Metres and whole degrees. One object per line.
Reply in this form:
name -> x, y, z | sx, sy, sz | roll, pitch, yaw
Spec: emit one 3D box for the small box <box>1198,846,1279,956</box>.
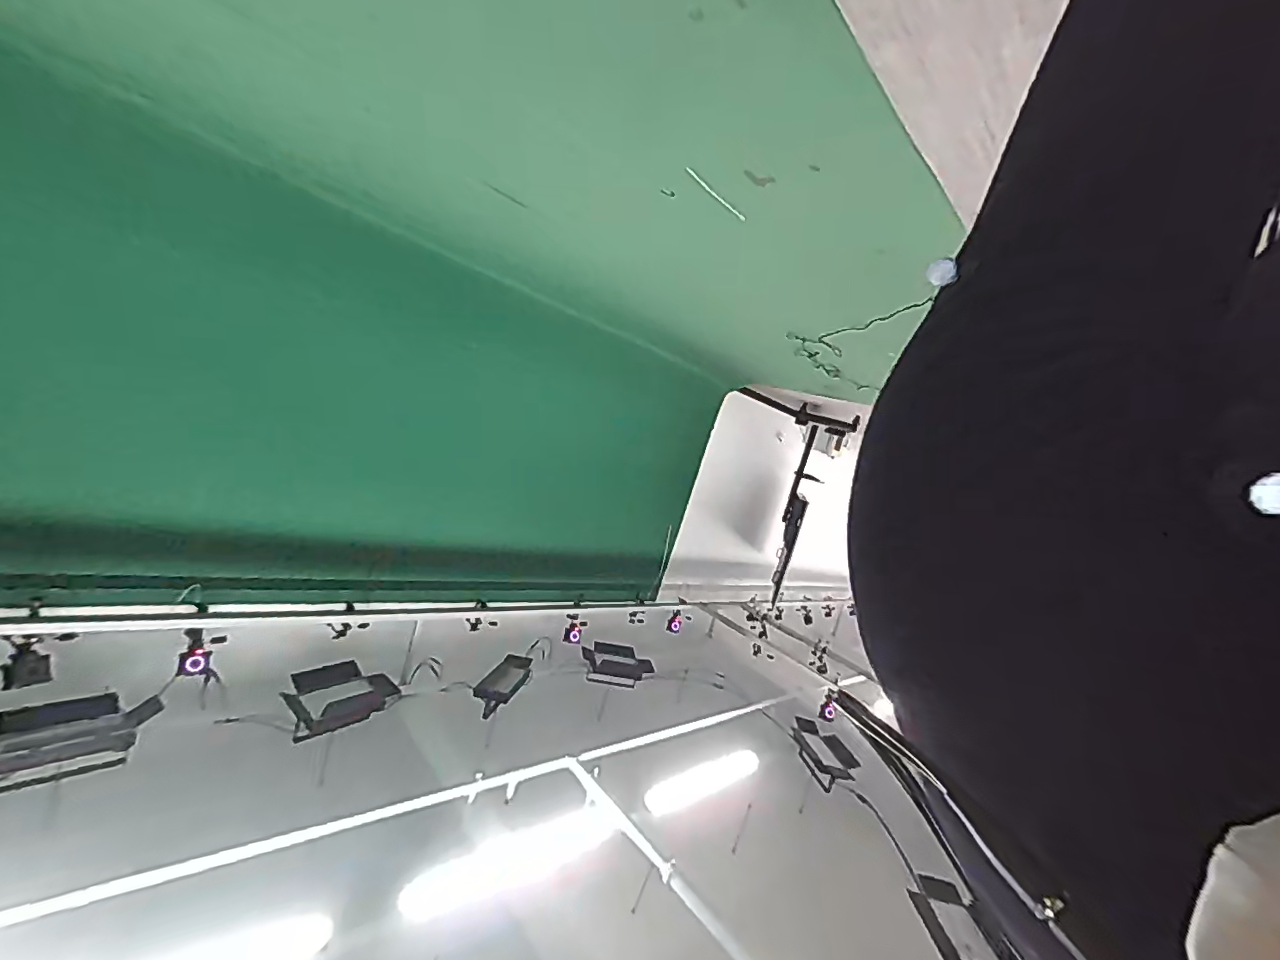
small box -> 1.818, 1.242, 1.612 | 0.168, 0.176, 0.179 | 23, -171, 42
